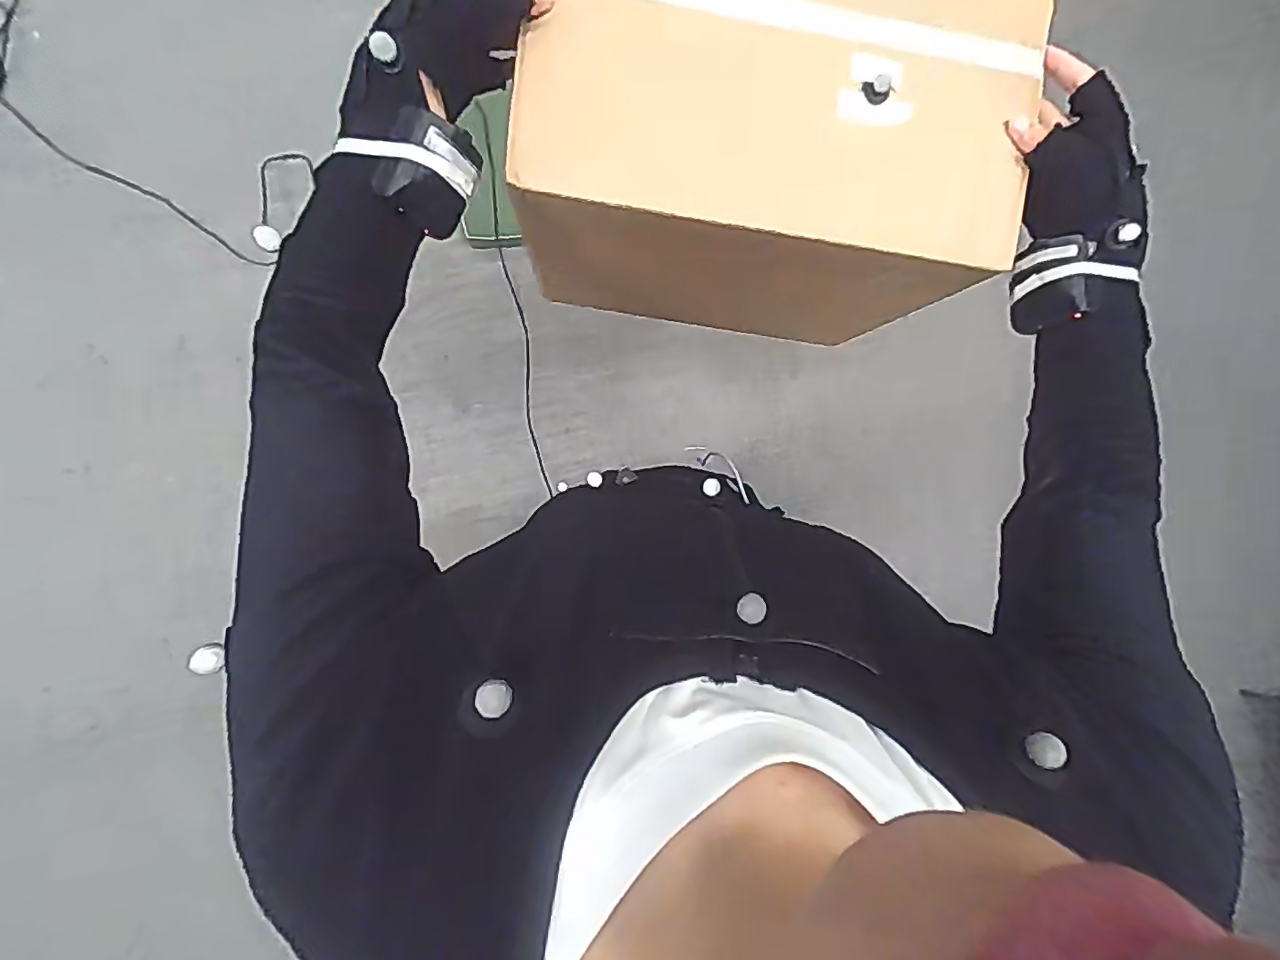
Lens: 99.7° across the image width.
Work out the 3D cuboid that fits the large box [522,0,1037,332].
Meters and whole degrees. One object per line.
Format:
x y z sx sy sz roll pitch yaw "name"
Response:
0.102 -0.362 0.569 0.408 0.320 0.320 6 93 -6 "large box"
